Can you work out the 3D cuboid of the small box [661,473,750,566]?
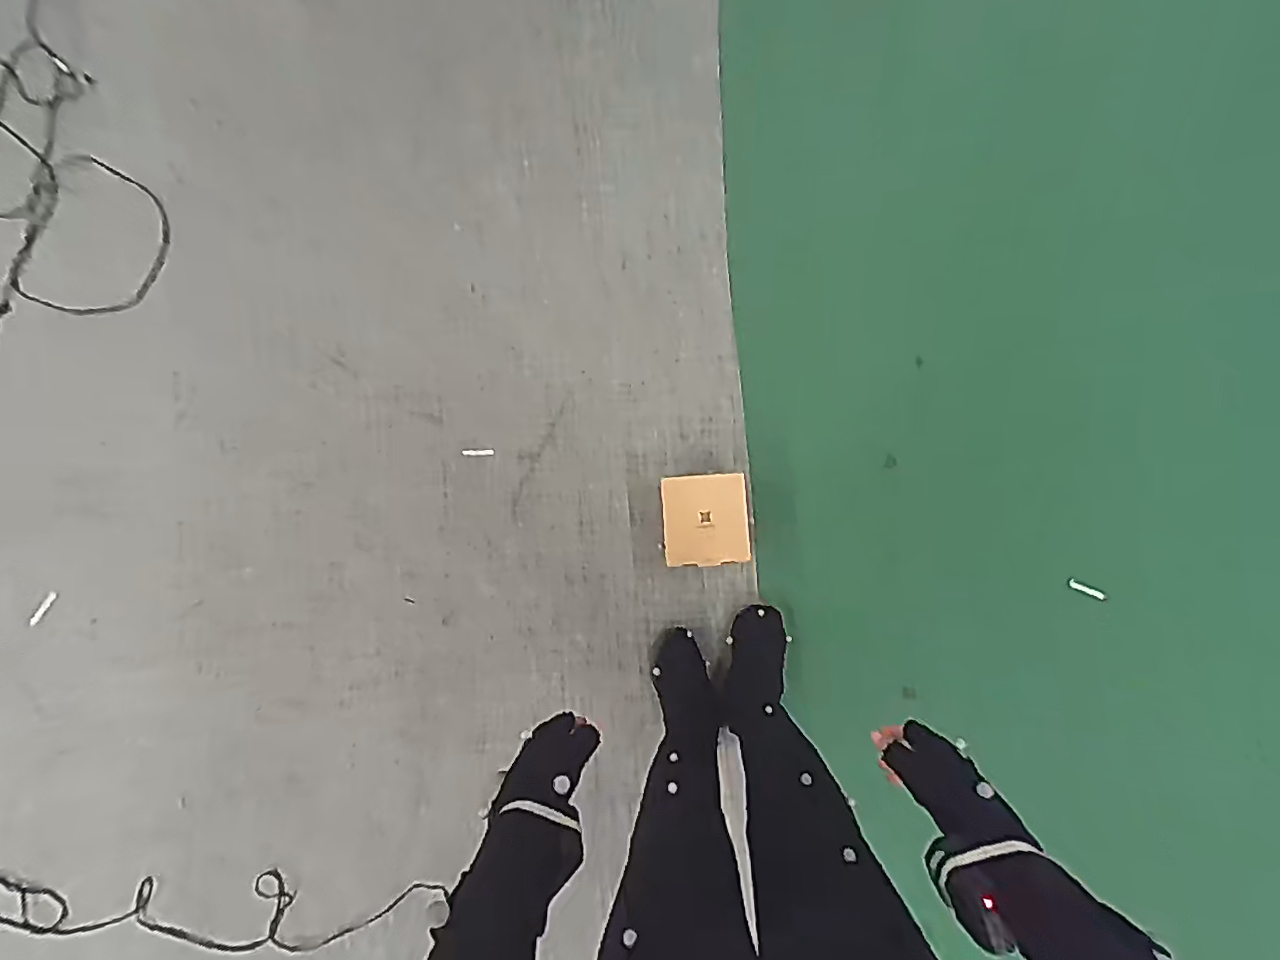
[{"bbox_3d":[0.131,0.084,1.132,0.168,0.176,0.179,-4,86,3],"label":"small box"}]
